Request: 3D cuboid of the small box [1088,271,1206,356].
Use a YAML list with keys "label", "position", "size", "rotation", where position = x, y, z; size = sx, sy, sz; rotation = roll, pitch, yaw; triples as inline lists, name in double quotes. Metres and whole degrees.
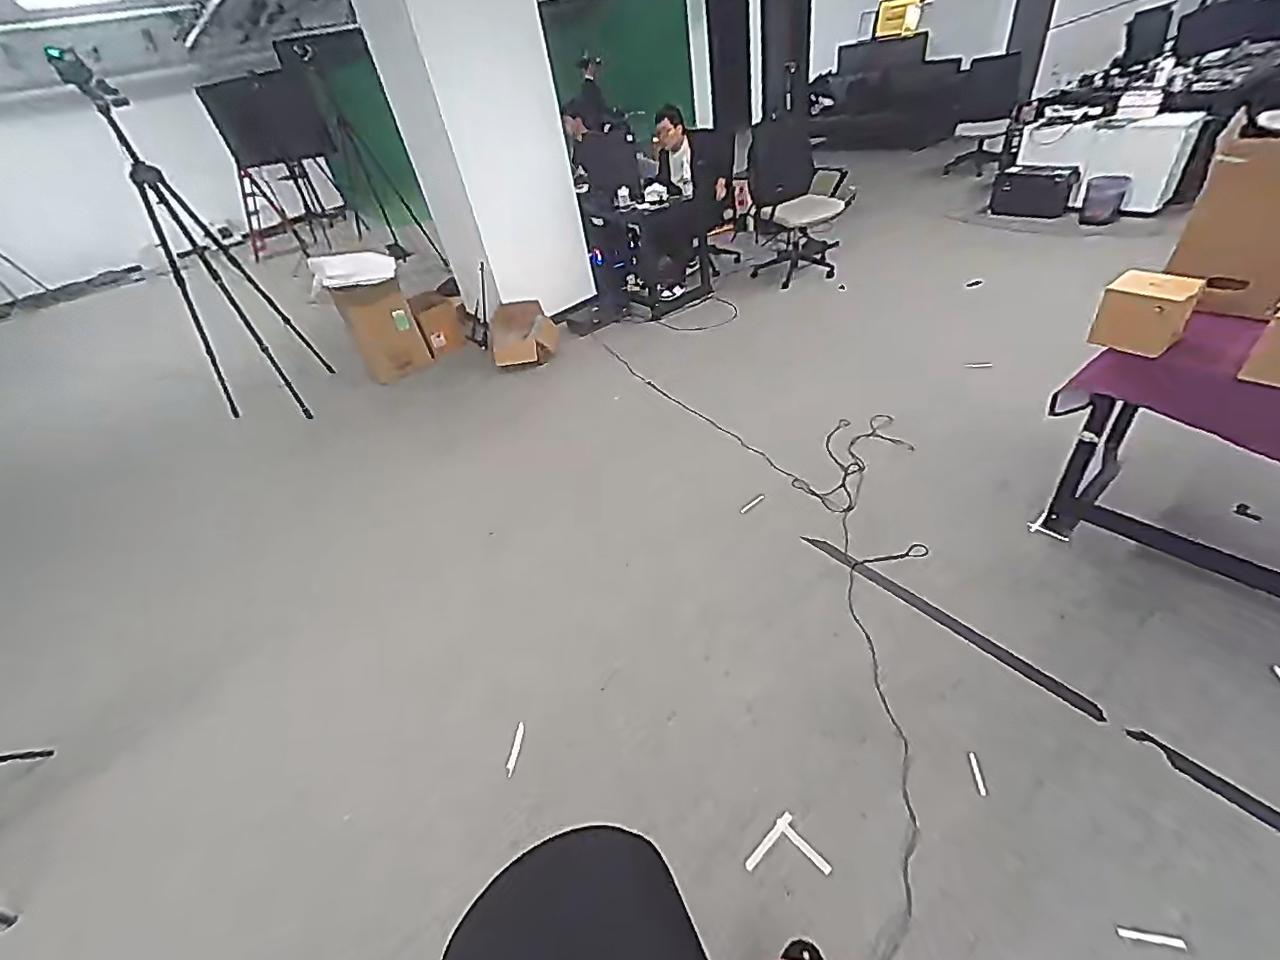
- label: "small box"
  position: [1.429, -0.473, 1.537]
  size: [0.168, 0.176, 0.179]
  rotation: [-31, 44, -23]
